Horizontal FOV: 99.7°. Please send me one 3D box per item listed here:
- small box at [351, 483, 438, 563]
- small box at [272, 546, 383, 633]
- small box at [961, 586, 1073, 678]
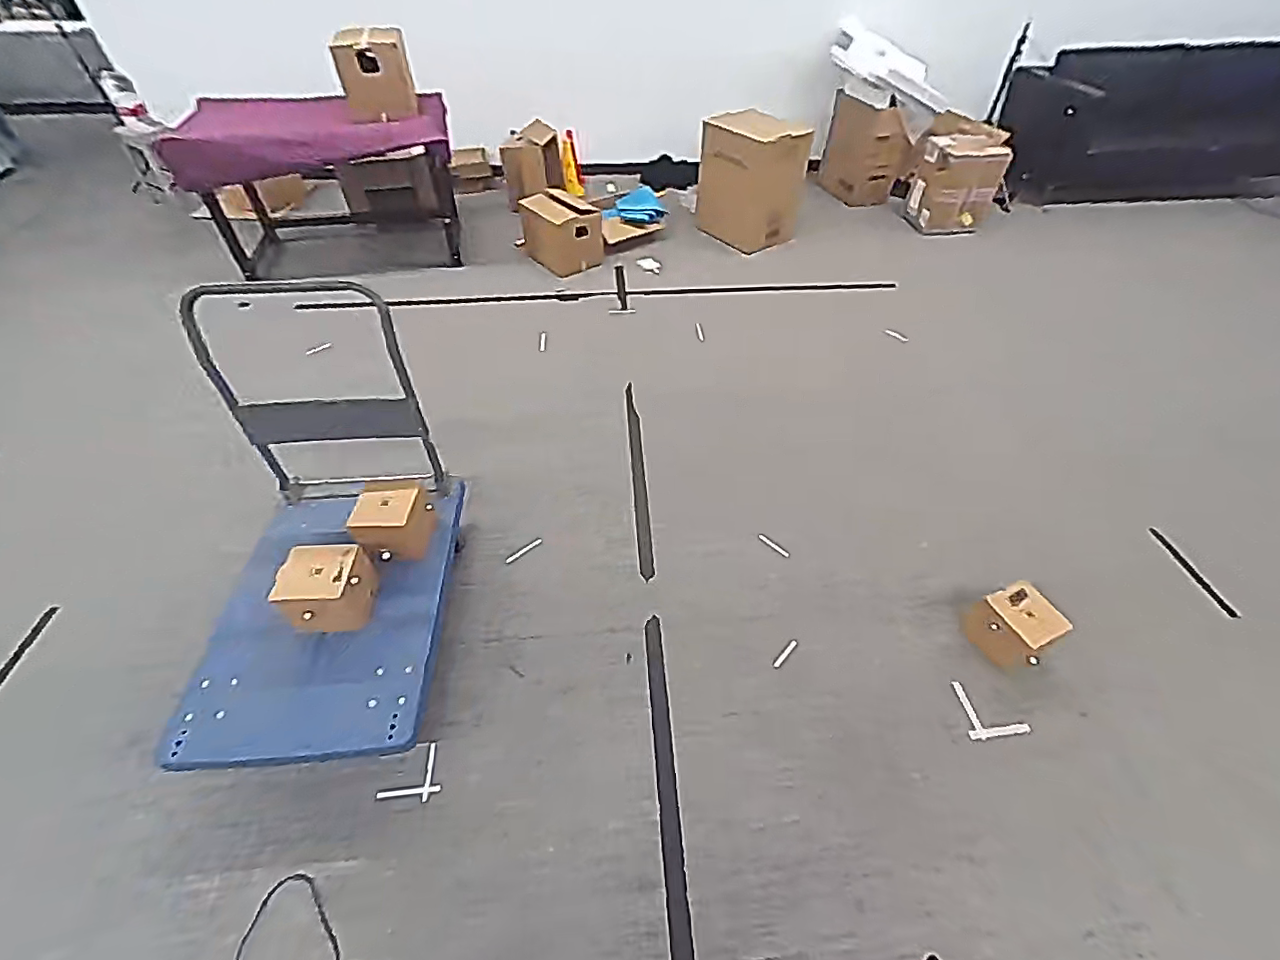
[{"bbox_3d":[-0.715,0.127,1.602,0.168,0.176,0.179,-1,48,1],"label":"small box"},{"bbox_3d":[-0.821,0.295,1.439,0.179,0.176,0.168,-2,48,-1],"label":"small box"},{"bbox_3d":[1.095,0.448,1.588,0.168,0.176,0.179,-17,50,-16],"label":"small box"}]
